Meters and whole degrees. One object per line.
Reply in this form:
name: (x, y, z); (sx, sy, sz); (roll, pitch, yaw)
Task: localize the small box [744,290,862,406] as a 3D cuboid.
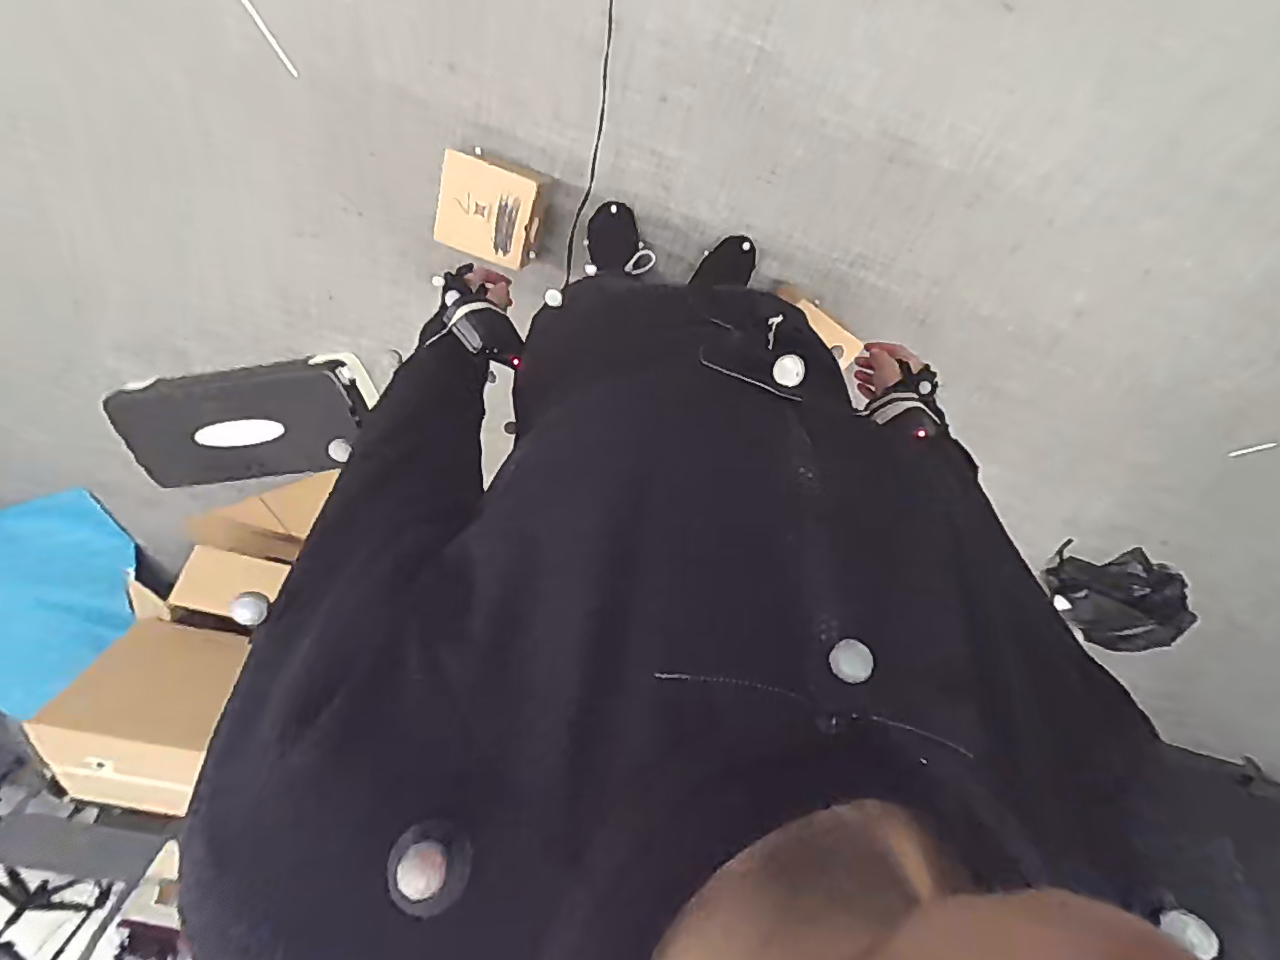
small box: (0.353, -0.301, 1.207); (0.179, 0.176, 0.168); (29, 118, -13)
